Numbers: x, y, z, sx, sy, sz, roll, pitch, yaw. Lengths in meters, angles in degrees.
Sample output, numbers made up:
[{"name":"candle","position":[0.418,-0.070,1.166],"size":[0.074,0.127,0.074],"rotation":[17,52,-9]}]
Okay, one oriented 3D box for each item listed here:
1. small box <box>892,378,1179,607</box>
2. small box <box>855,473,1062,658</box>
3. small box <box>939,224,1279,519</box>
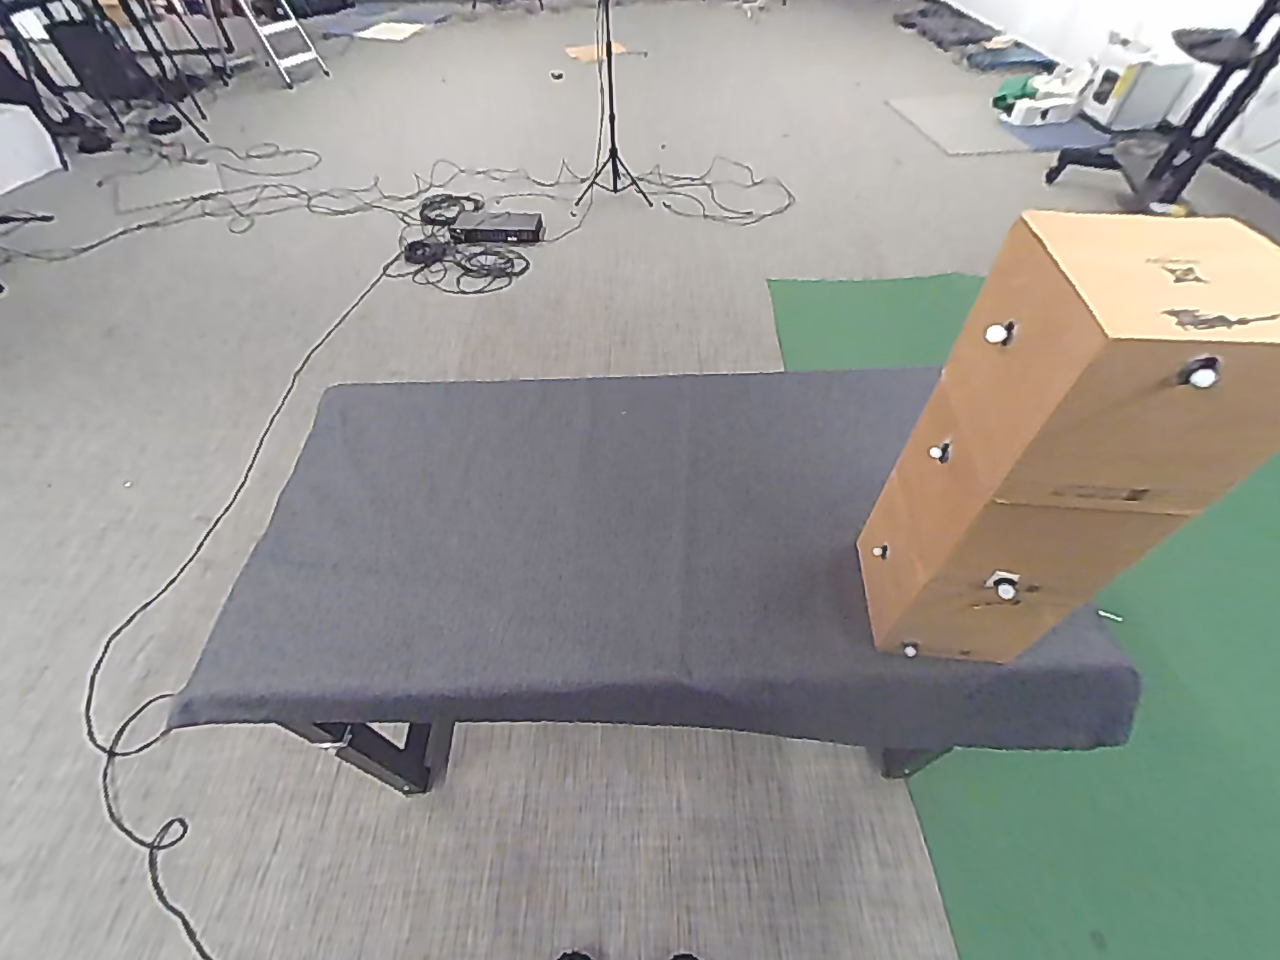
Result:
[{"name":"small box","position":[0.390,0.013,0.581],"size":[0.168,0.176,0.179],"rotation":[4,51,6]},{"name":"small box","position":[0.396,0.114,0.706],"size":[0.168,0.176,0.179],"rotation":[4,49,5]},{"name":"small box","position":[0.380,-0.091,0.454],"size":[0.168,0.176,0.179],"rotation":[4,49,6]}]
